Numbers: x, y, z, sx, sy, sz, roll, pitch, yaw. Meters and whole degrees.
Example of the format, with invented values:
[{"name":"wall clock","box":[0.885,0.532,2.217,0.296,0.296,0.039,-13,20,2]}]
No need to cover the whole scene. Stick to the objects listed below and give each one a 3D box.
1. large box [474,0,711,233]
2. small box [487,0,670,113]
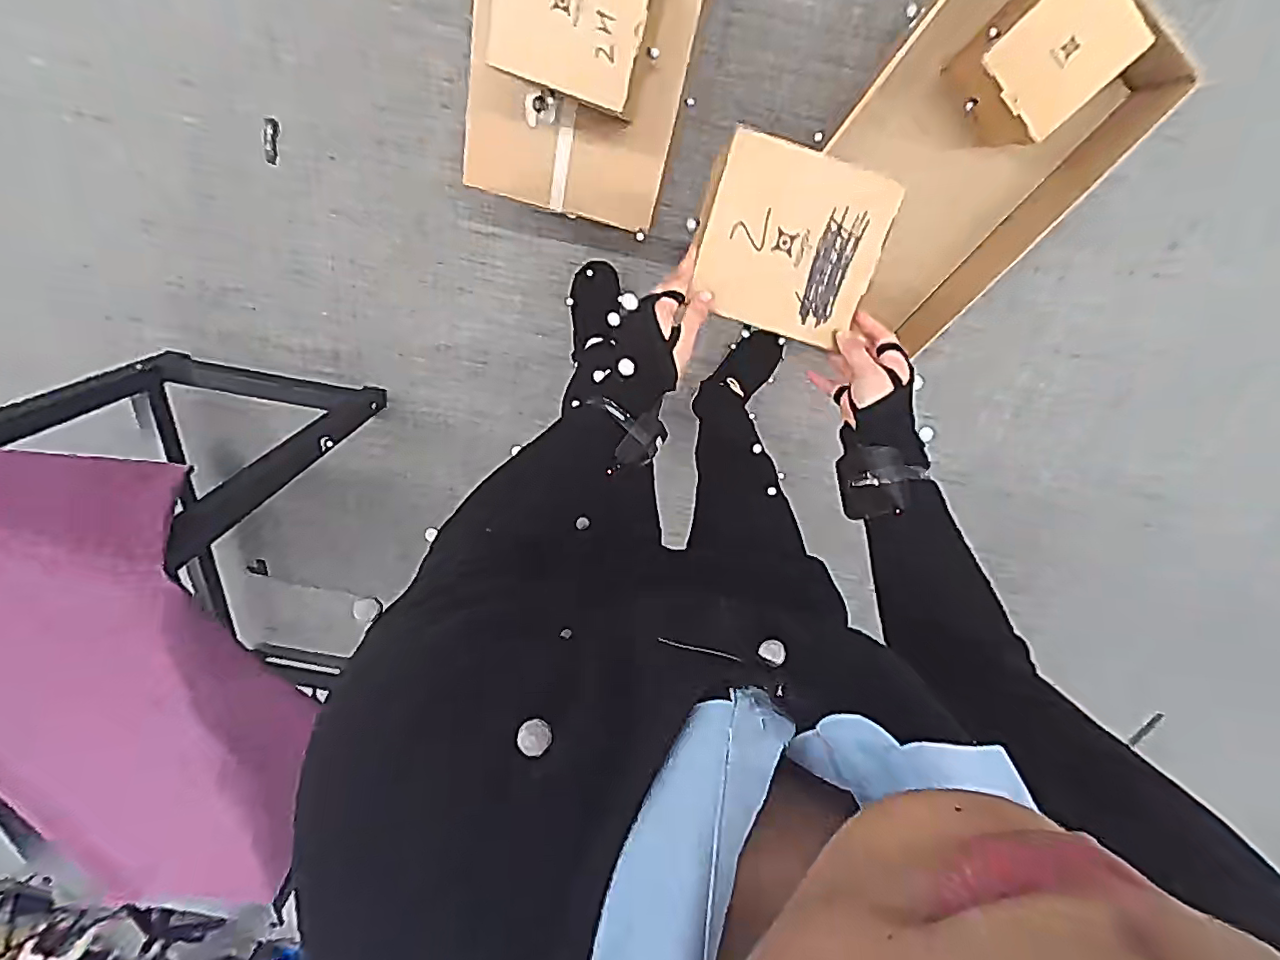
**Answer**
[{"name":"large box","box":[-0.066,-0.680,0.903,0.320,0.320,0.408,14,121,-1]},{"name":"small box","box":[-0.068,-0.580,0.675,0.179,0.176,0.168,17,121,-5]}]
